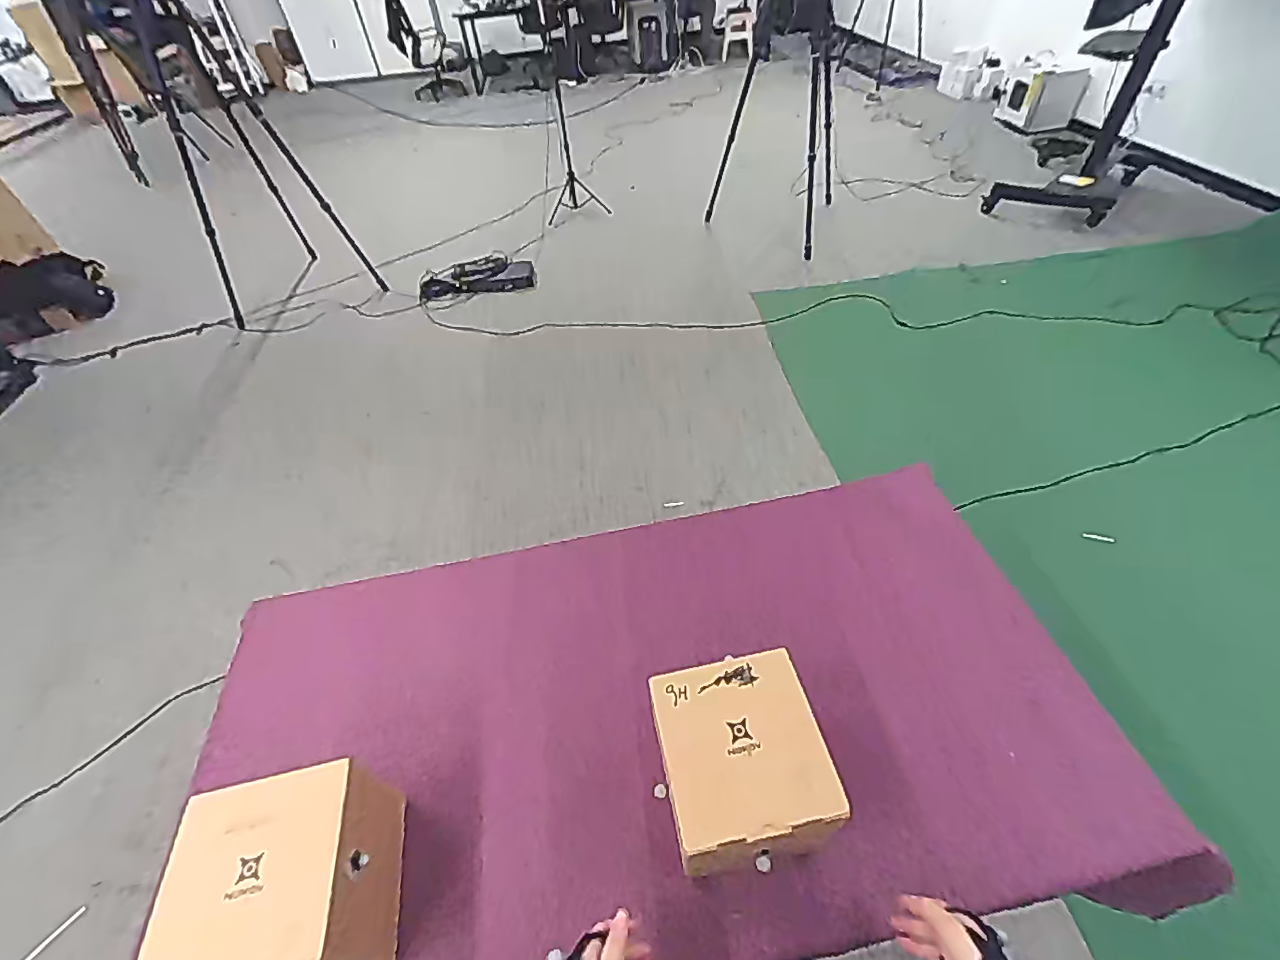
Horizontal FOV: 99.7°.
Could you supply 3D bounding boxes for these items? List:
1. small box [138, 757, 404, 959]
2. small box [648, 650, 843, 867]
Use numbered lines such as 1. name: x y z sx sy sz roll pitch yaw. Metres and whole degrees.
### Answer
1. small box: -0.368 0.429 0.577 0.168 0.176 0.179 -11 47 -6
2. small box: 0.109 0.327 0.627 0.168 0.176 0.179 -11 48 -5
